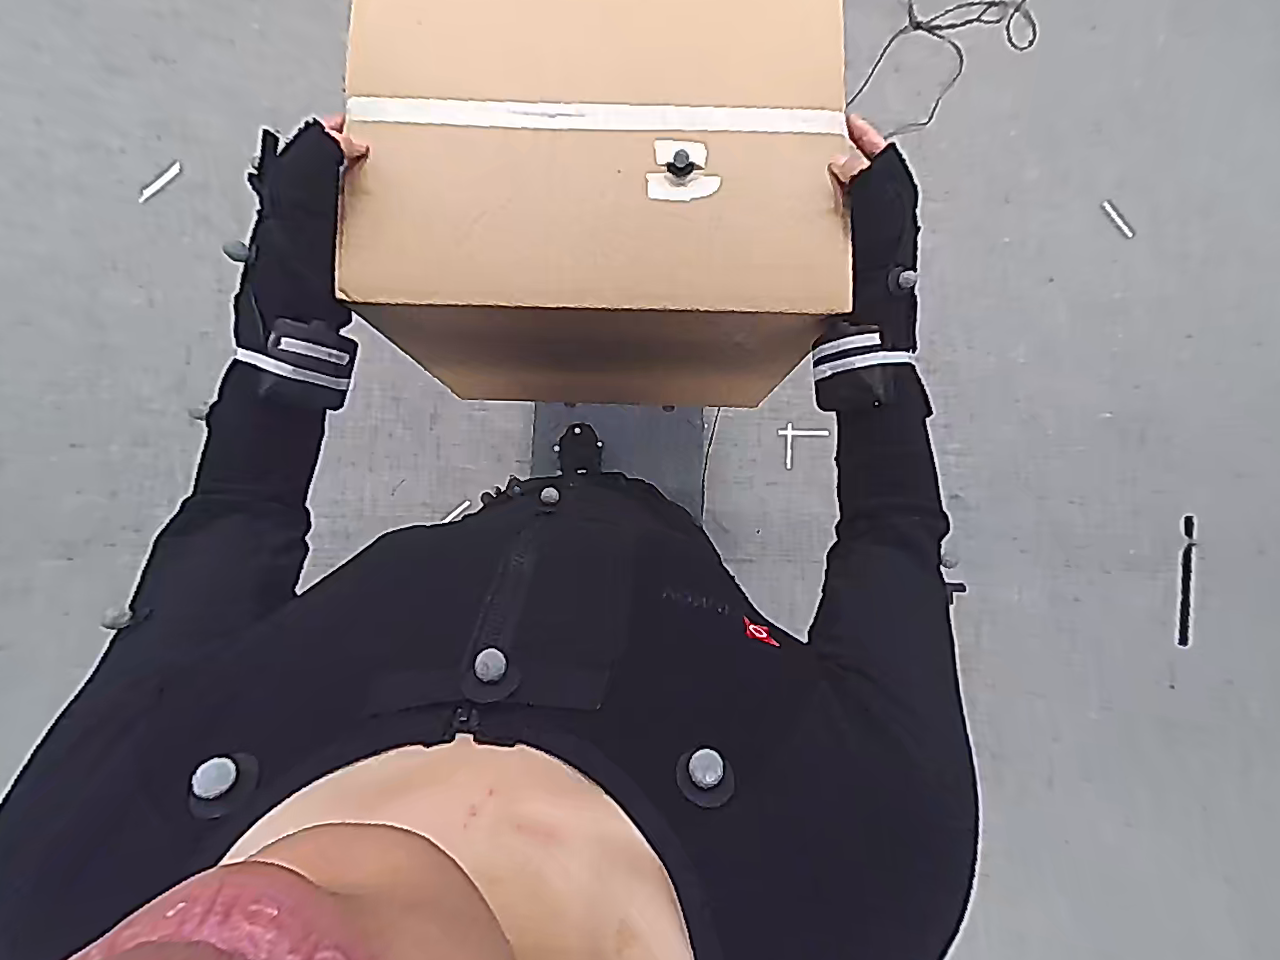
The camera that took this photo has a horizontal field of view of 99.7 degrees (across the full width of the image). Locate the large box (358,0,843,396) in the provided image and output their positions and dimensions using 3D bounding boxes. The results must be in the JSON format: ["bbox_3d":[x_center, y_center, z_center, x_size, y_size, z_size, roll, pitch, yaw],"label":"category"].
[{"bbox_3d":[-0.036,-0.283,0.604,0.408,0.320,0.320,1,84,-2],"label":"large box"}]
